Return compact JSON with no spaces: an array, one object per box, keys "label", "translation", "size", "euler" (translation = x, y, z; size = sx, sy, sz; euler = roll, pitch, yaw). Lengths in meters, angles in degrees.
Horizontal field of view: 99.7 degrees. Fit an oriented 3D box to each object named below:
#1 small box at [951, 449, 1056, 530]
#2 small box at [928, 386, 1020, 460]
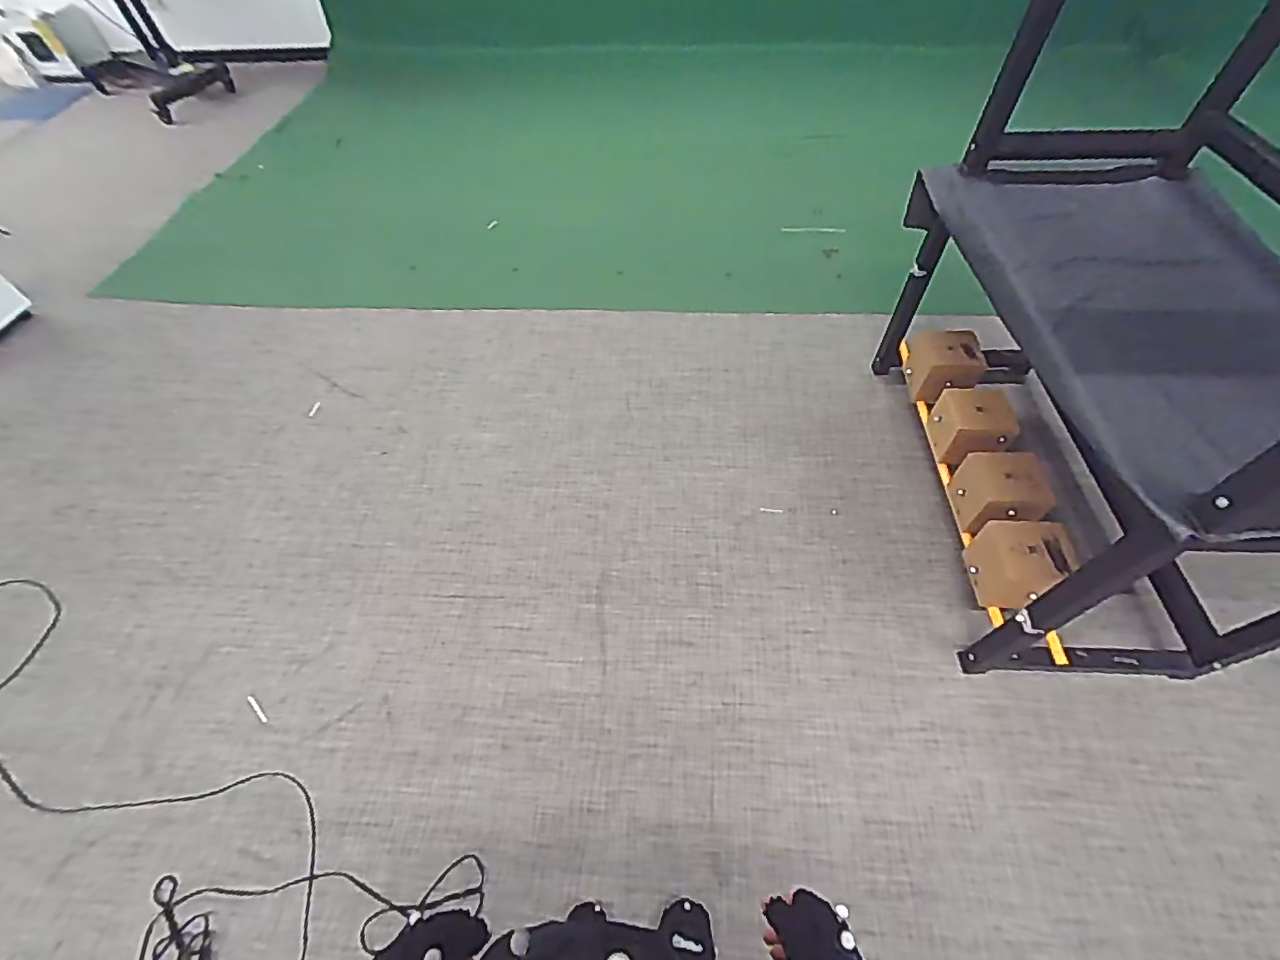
[{"label":"small box","translation":[1.002,0.029,1.515],"size":[0.179,0.176,0.168],"euler":[1,55,4]},{"label":"small box","translation":[1.010,-0.171,1.659],"size":[0.179,0.176,0.168],"euler":[2,55,5]}]
